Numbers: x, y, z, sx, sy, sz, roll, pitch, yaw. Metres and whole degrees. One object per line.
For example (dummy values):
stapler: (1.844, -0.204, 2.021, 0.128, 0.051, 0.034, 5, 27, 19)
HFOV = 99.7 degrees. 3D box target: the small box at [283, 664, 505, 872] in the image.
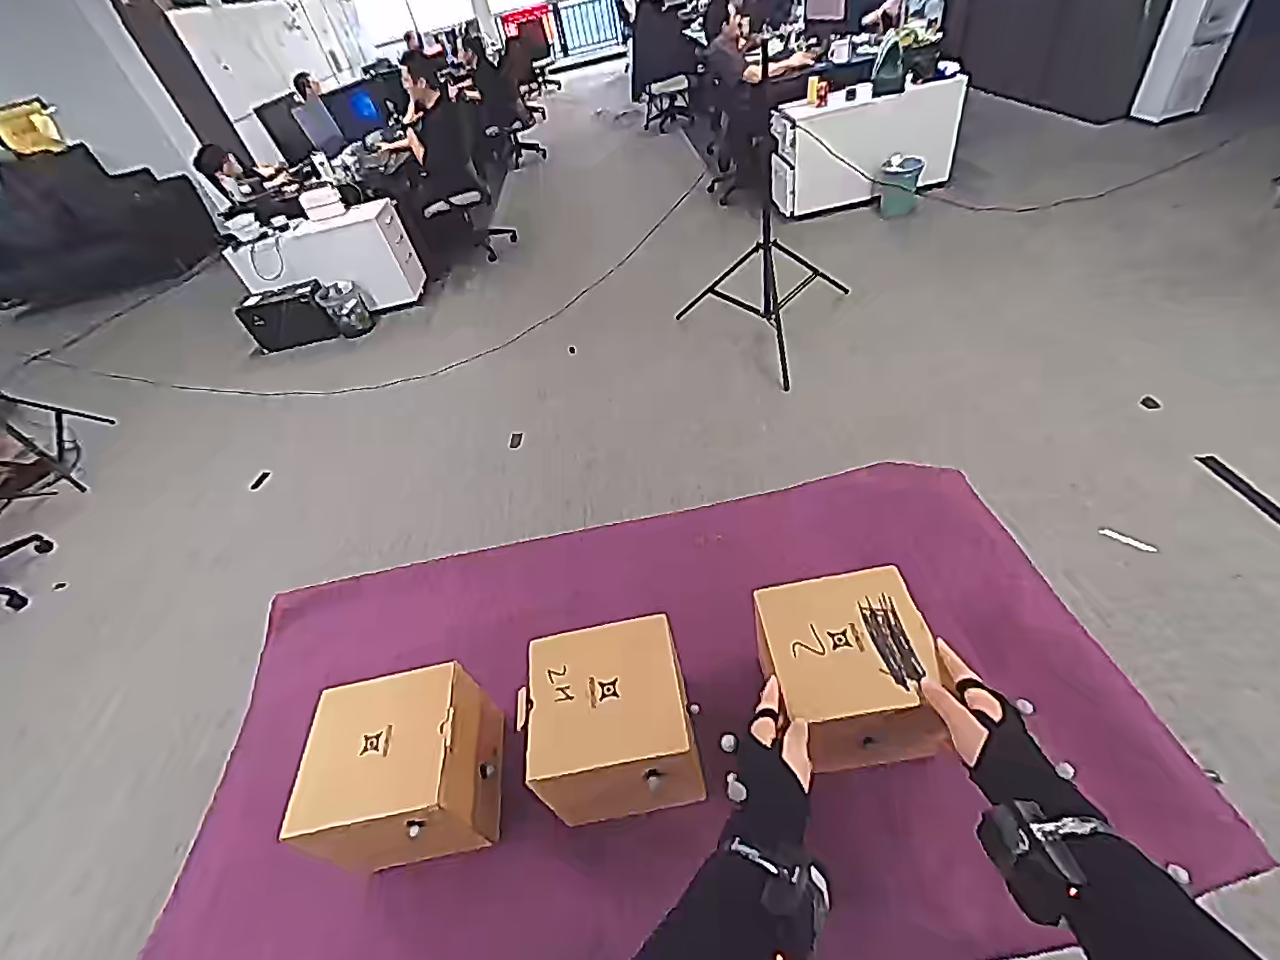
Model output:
small box: (-0.284, 0.359, 0.671, 0.179, 0.176, 0.168, -13, 43, 1)

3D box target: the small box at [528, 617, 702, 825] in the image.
small box: (-0.025, 0.297, 0.663, 0.179, 0.176, 0.168, -13, 43, 2)
